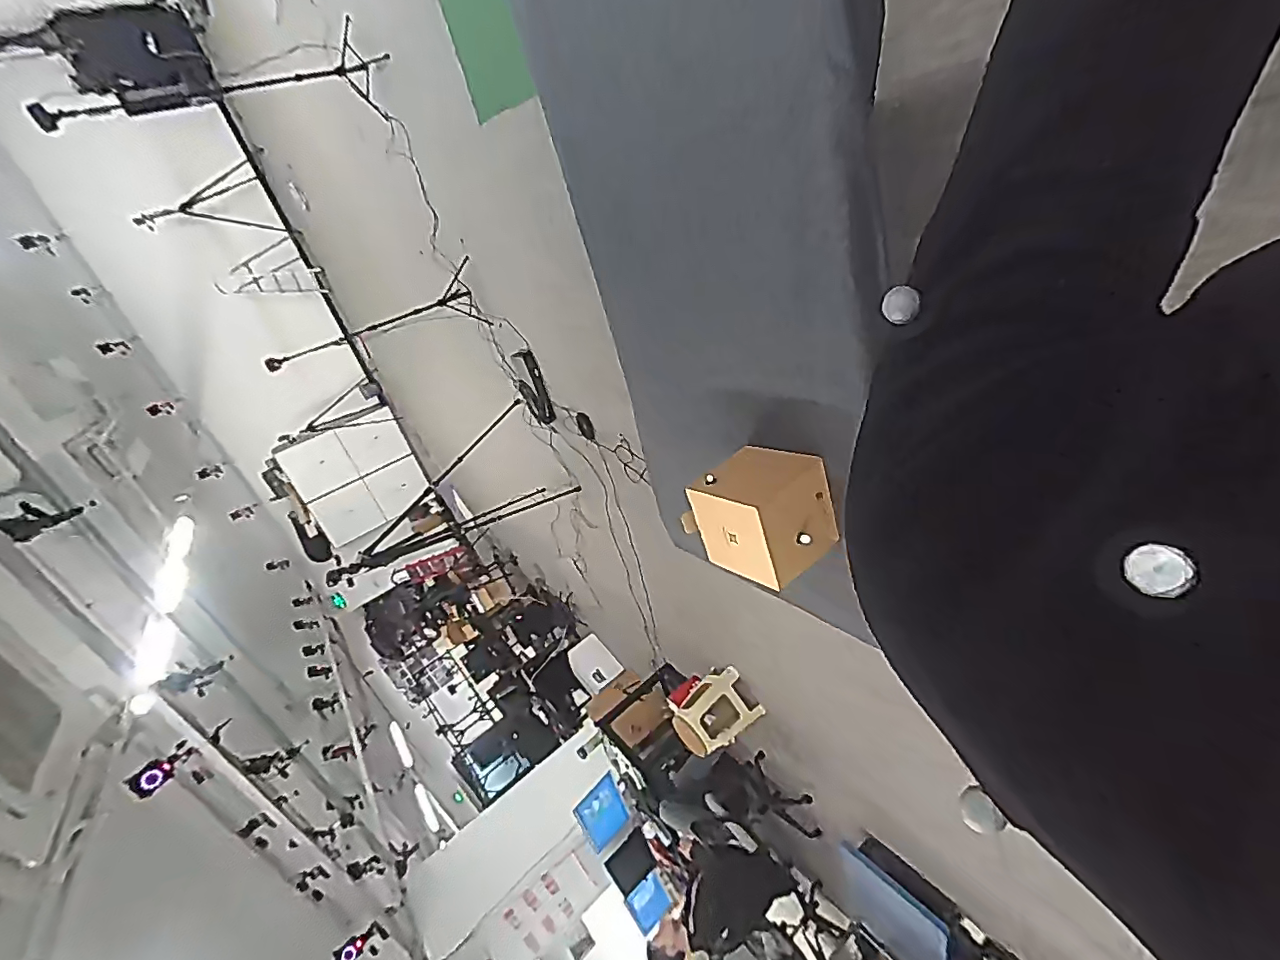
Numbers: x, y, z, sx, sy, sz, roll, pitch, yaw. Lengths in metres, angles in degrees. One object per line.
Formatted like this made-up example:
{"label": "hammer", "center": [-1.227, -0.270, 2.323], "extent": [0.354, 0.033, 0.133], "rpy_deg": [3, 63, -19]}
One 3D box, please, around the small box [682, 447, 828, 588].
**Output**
{"label": "small box", "center": [0.208, 0.055, 0.946], "extent": [0.179, 0.176, 0.168], "rpy_deg": [16, 132, 54]}
